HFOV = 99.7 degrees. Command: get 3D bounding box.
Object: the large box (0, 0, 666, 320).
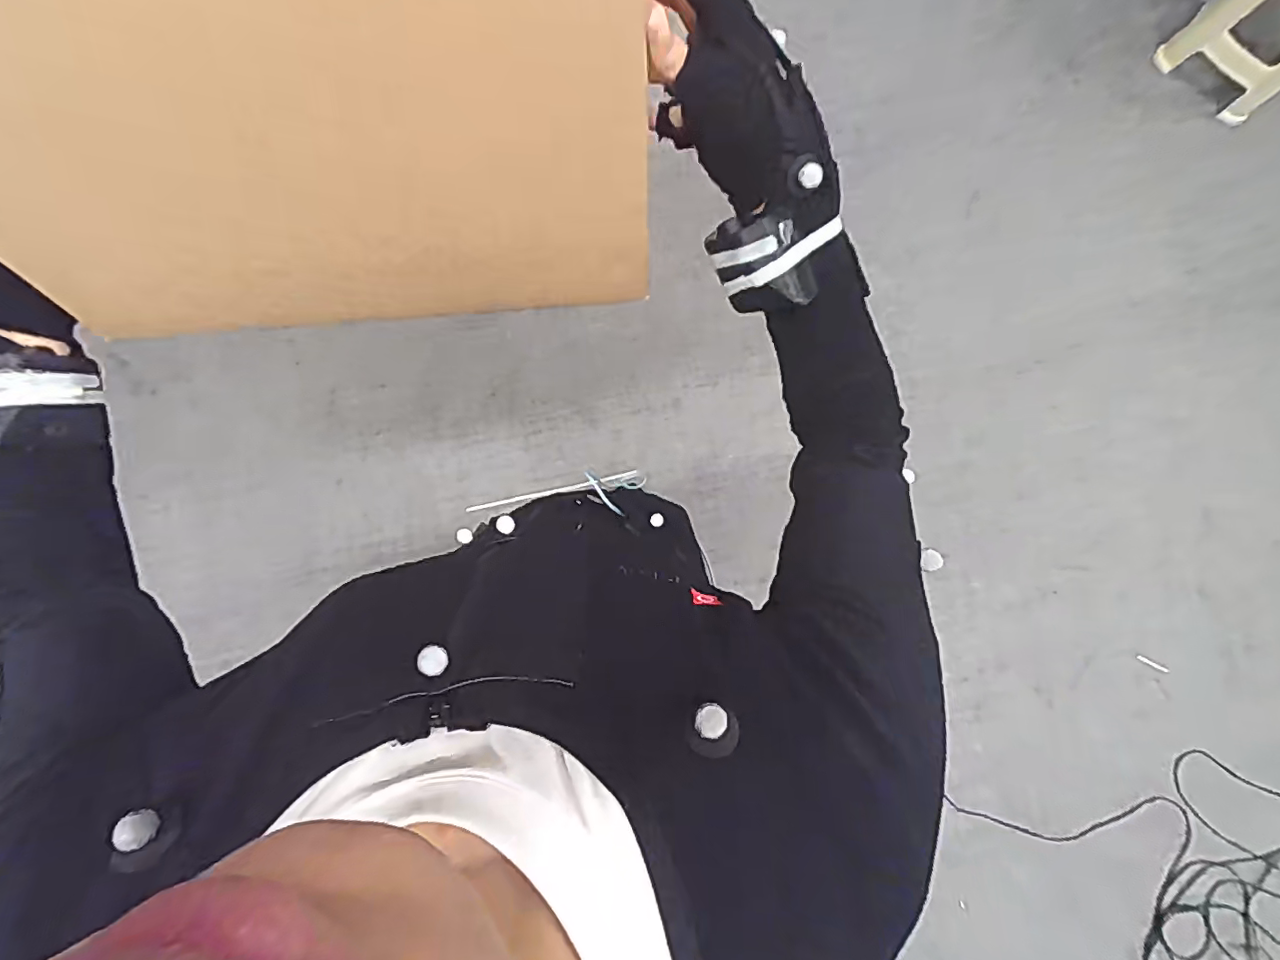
[{"bbox_3d":[-0.199,-0.328,0.329,0.408,0.320,0.320,-4,66,-2],"label":"large box"}]
